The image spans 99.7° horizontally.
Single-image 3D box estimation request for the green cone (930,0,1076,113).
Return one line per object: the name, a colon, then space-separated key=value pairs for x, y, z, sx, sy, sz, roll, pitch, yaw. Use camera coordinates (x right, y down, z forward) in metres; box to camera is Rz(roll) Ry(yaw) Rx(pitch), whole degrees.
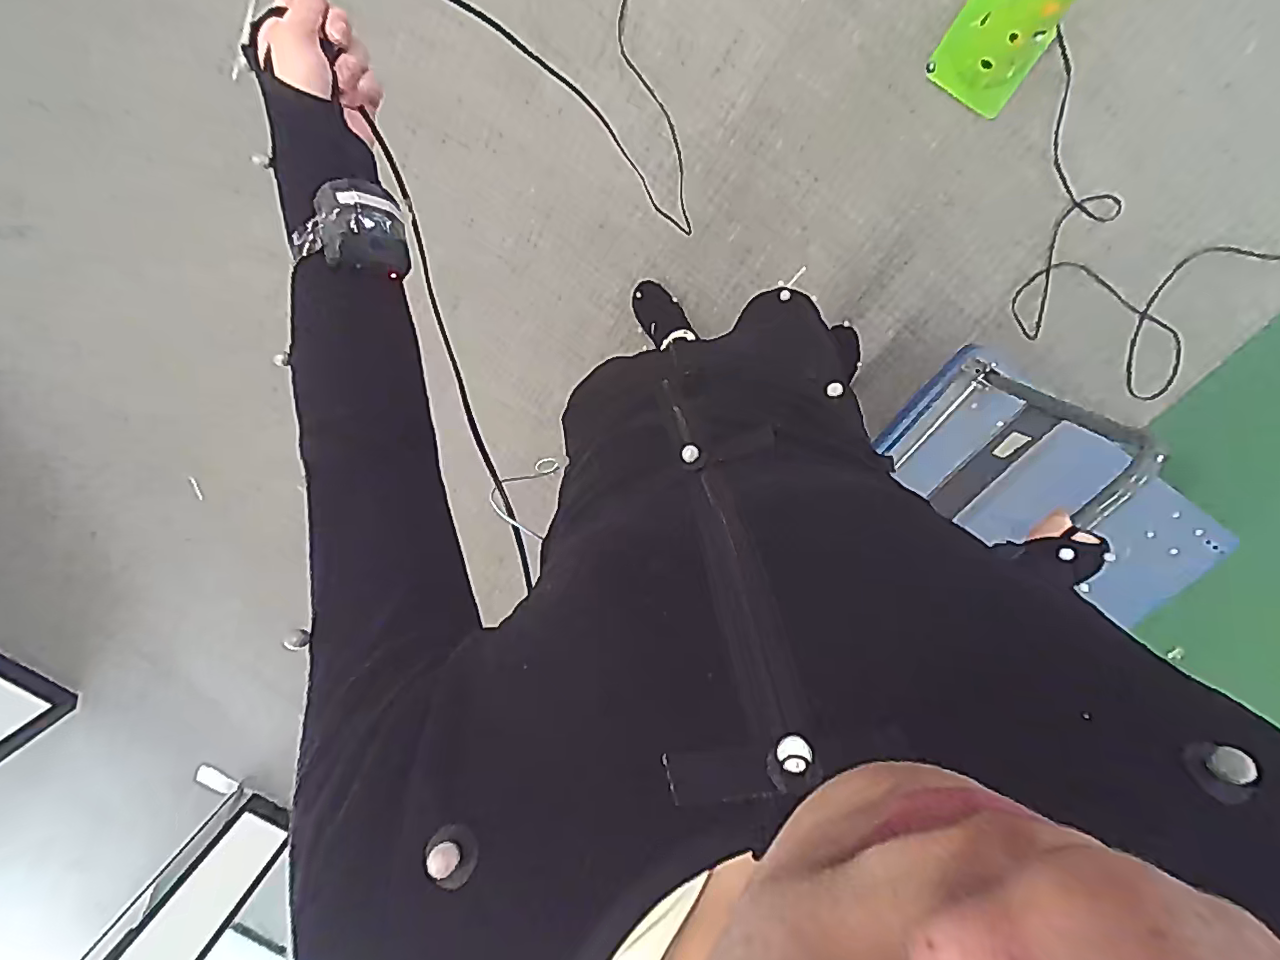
green cone: x=0.744 y=-0.880 z=1.014 sx=0.200 sy=0.368 sz=0.202 roll=31 pitch=112 yaw=-4
